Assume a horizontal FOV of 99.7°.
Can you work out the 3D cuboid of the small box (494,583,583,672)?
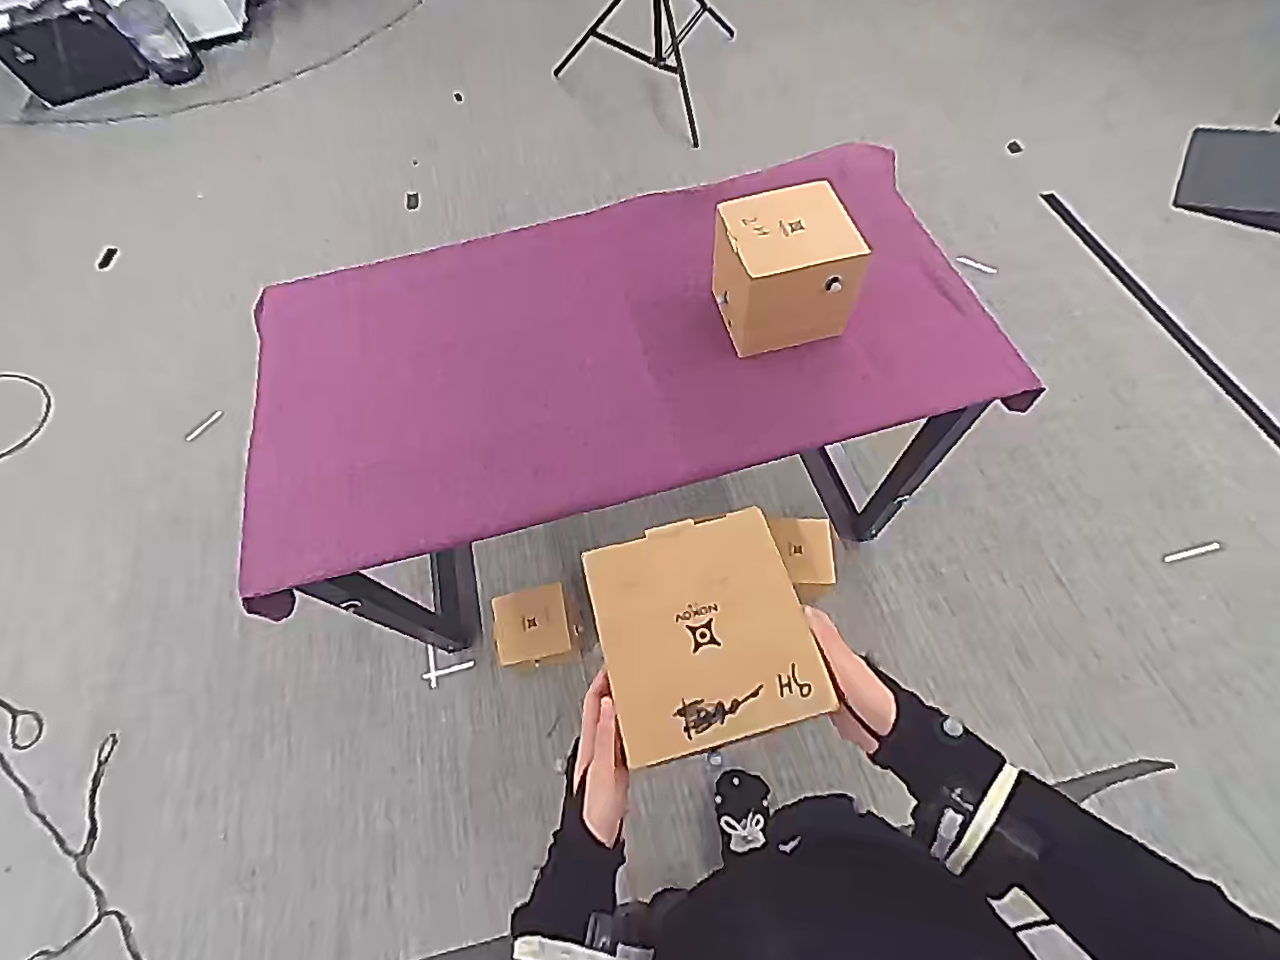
[{"bbox_3d":[-0.252,0.376,1.357,0.179,0.176,0.168,-12,64,-2],"label":"small box"}]

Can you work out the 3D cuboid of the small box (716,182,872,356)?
[{"bbox_3d":[0.224,-0.321,0.842,0.179,0.176,0.168,-13,62,-1],"label":"small box"}]

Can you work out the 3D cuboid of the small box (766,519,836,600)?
[{"bbox_3d":[0.387,0.207,1.385,0.179,0.176,0.168,0,64,6],"label":"small box"}]

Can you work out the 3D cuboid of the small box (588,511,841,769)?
[{"bbox_3d":[0.056,0.156,0.505,0.168,0.176,0.179,-15,62,-3],"label":"small box"}]
